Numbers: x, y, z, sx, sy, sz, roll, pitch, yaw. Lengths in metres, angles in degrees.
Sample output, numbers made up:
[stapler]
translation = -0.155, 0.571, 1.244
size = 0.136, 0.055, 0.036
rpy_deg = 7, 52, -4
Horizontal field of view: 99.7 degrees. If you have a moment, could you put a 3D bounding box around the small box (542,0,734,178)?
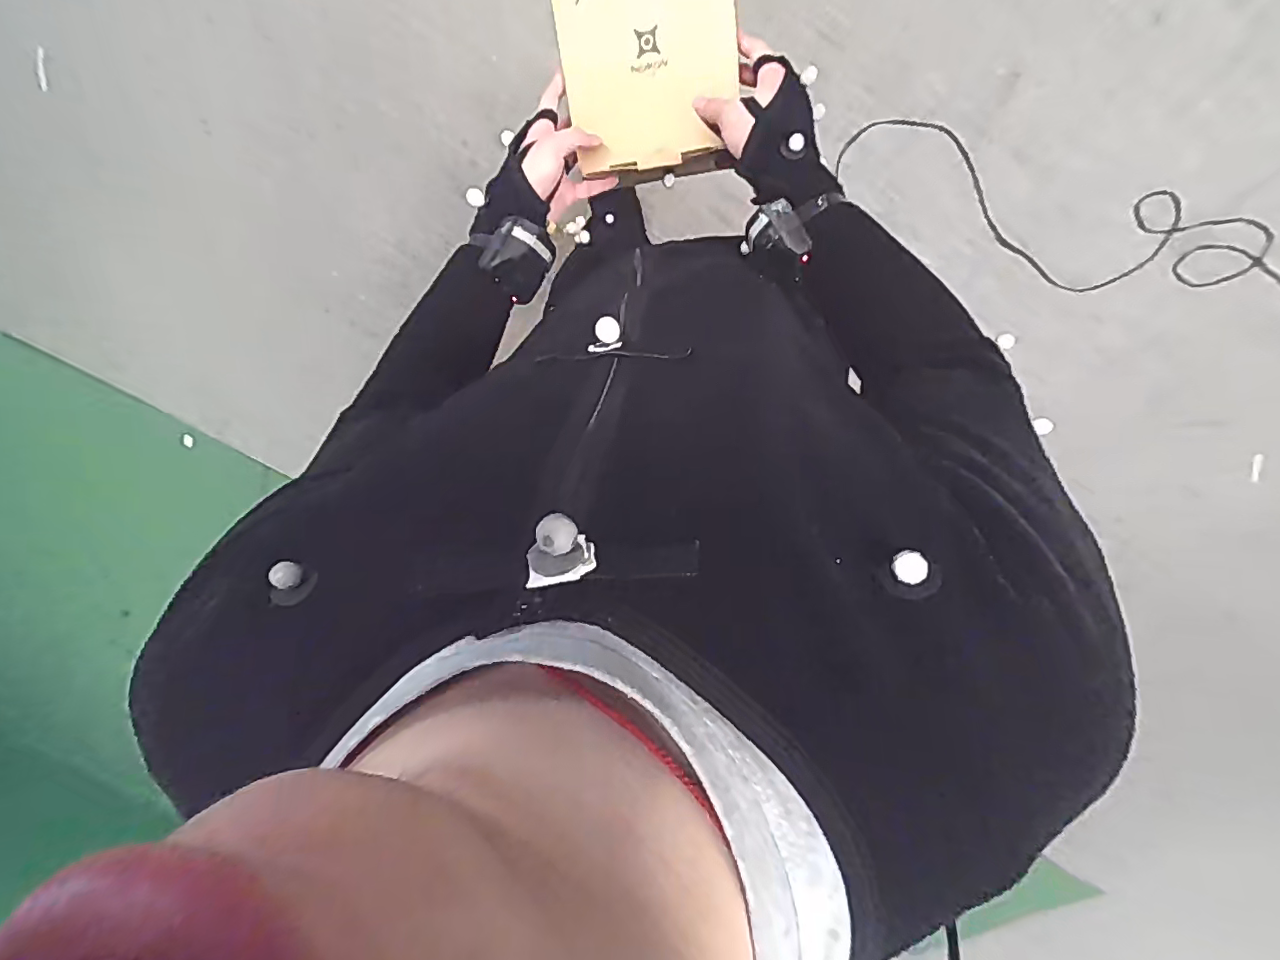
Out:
[small box]
translation = 0.010, -0.429, 0.568
size = 0.168, 0.176, 0.179
rpy_deg = -3, 113, 12
